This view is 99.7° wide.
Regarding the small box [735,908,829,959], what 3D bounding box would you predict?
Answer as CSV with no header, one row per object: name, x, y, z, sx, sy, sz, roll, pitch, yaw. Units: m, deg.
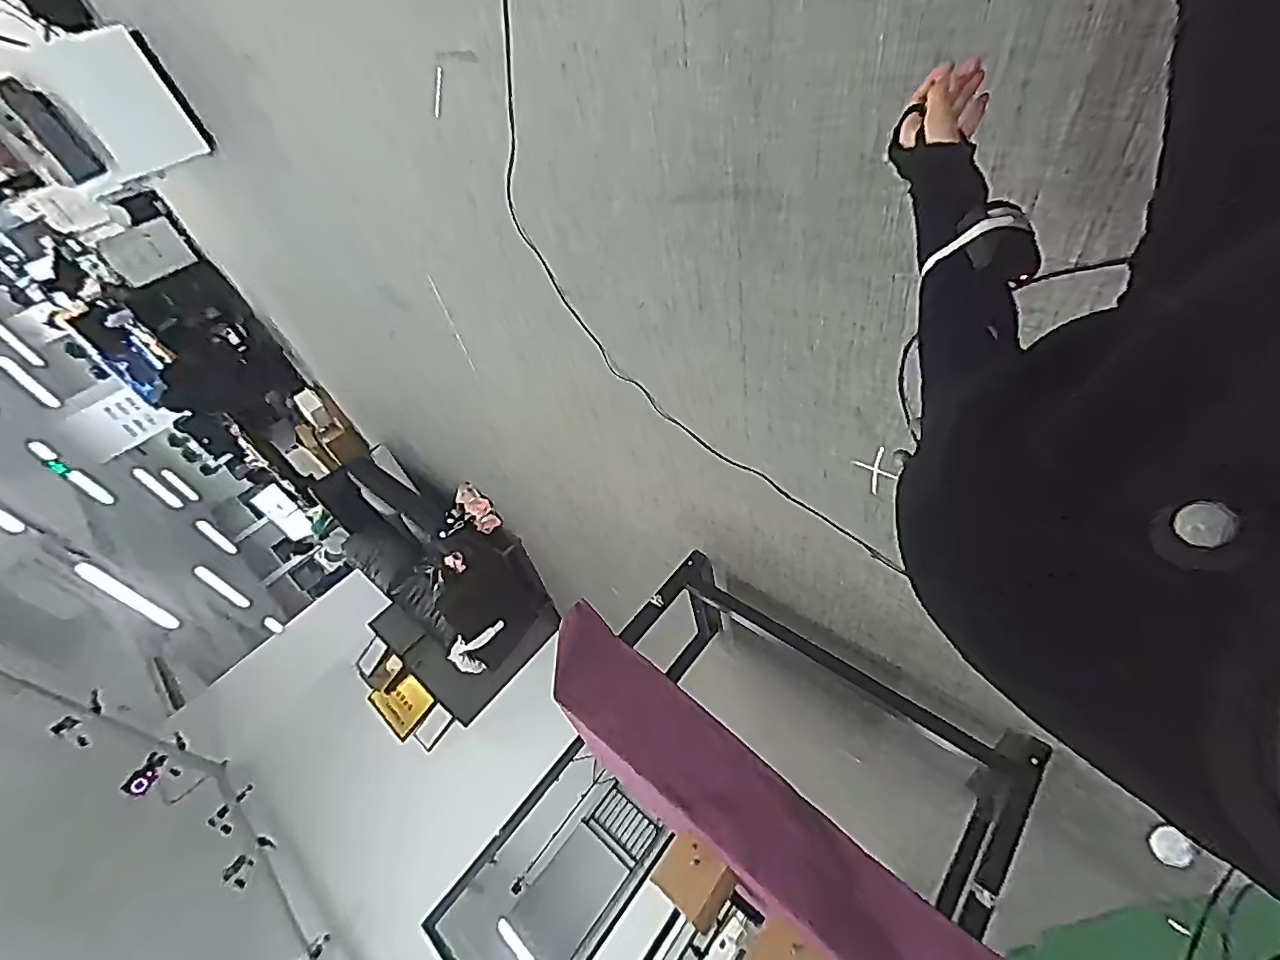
small box,0.372,1.268,1.420,0.179,0.176,0.168,26,148,36

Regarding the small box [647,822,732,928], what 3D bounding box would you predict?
small box,0.154,1.161,1.594,0.168,0.176,0.179,21,144,40
